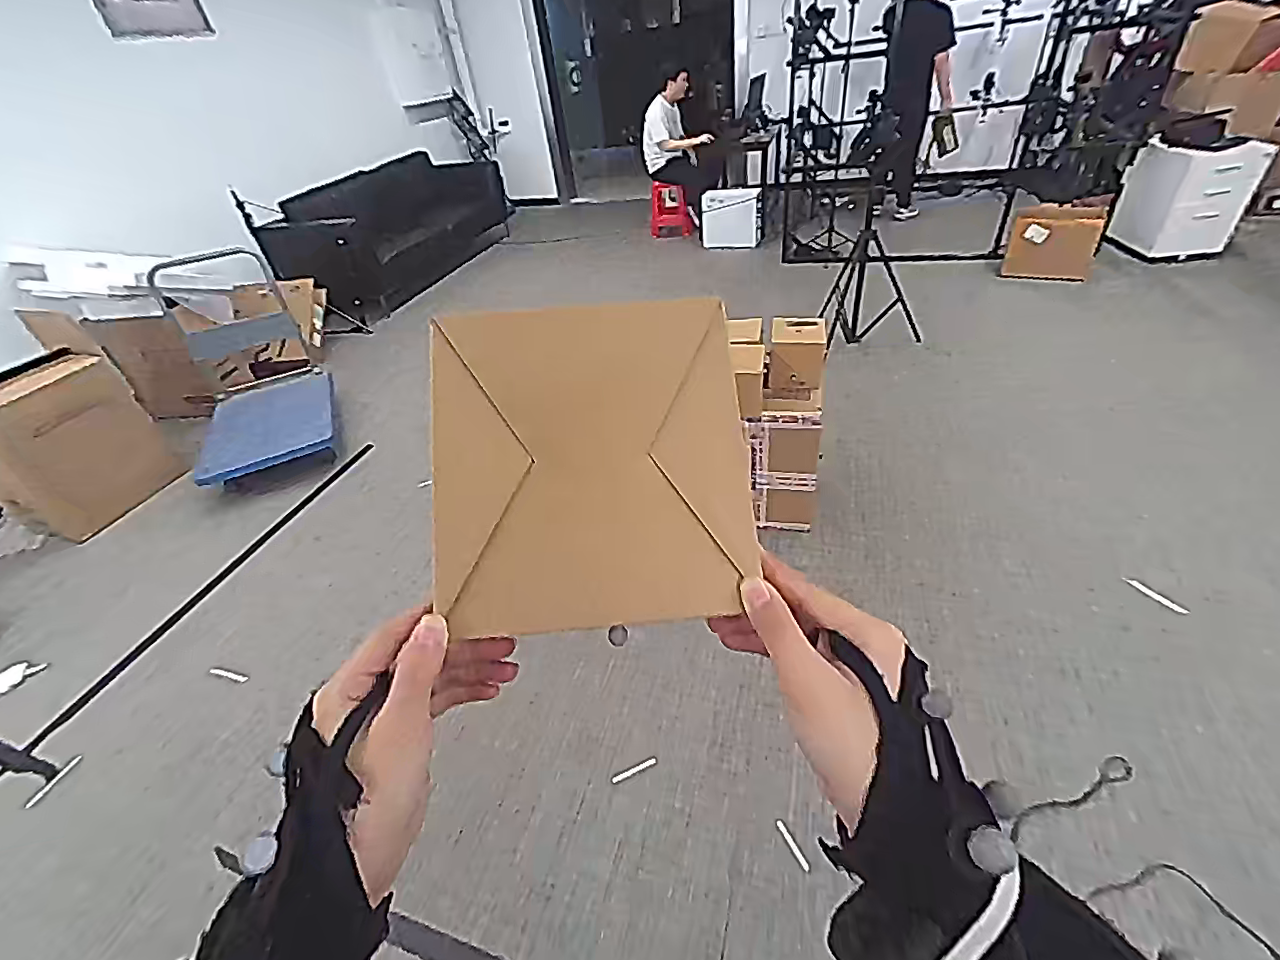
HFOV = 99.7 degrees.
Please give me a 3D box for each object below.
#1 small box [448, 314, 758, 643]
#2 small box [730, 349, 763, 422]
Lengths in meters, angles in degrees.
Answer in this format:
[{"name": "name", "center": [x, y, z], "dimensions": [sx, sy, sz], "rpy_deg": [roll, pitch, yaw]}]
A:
[{"name": "small box", "center": [-0.024, 0.012, 0.370], "dimensions": [0.168, 0.176, 0.179], "rpy_deg": [-5, 77, -3]}, {"name": "small box", "center": [0.290, -0.301, 1.697], "dimensions": [0.179, 0.176, 0.168], "rpy_deg": [3, 43, 15]}]
